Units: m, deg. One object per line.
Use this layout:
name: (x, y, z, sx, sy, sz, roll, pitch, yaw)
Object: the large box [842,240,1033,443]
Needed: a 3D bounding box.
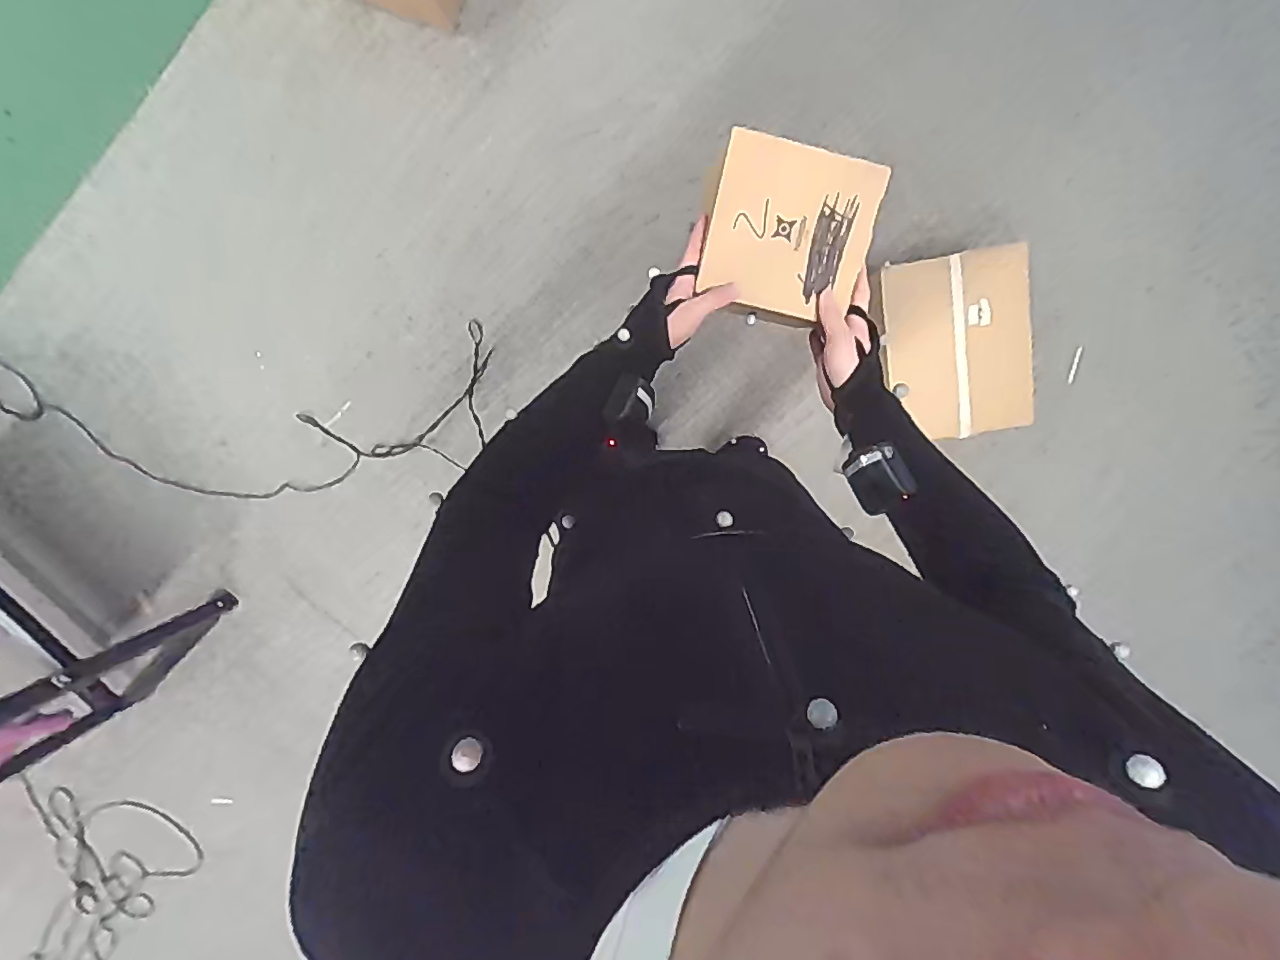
large box: (0.720, -0.327, 1.354, 0.320, 0.320, 0.408, -9, 99, 5)
